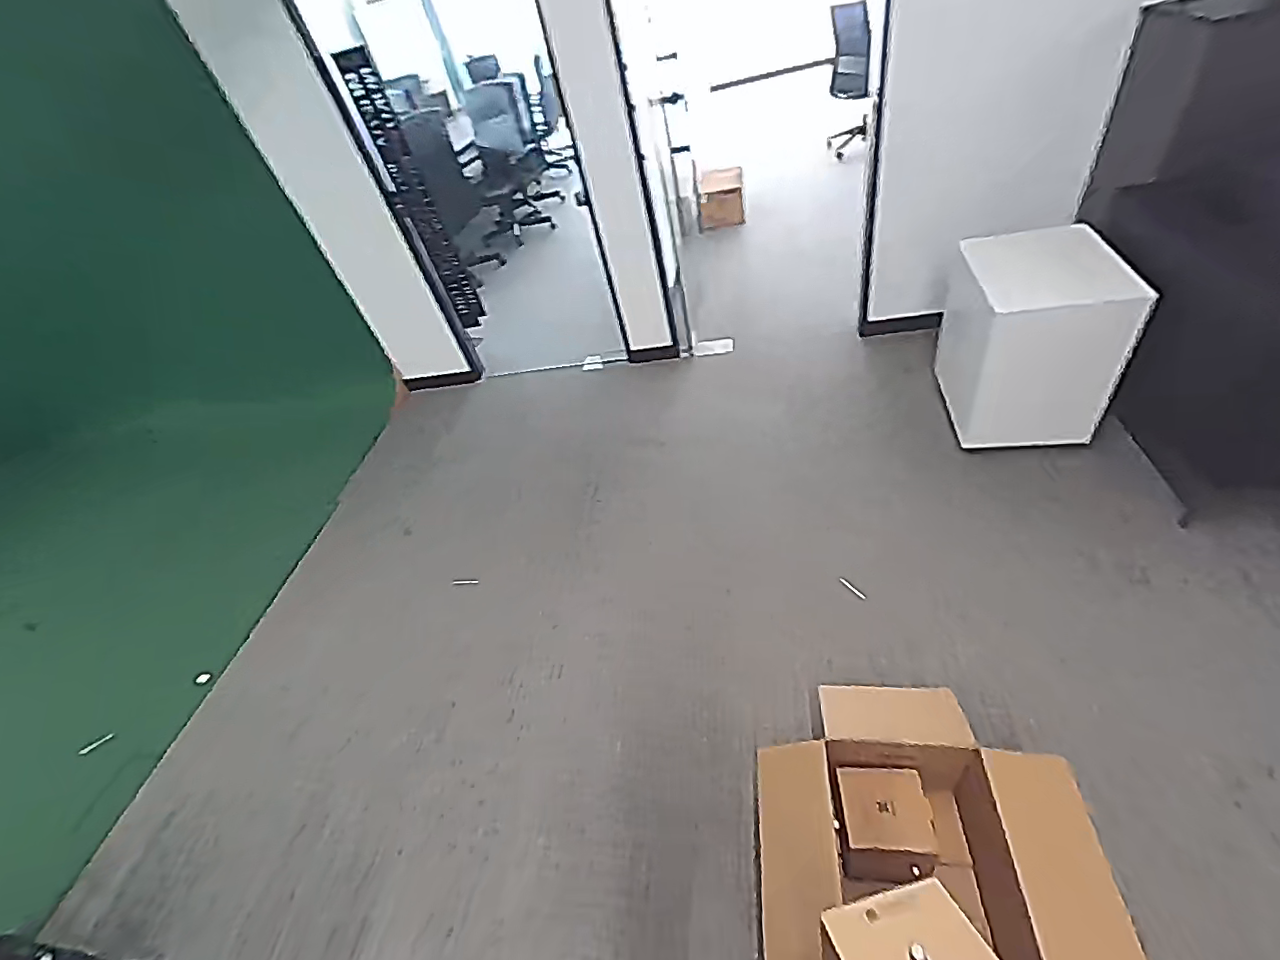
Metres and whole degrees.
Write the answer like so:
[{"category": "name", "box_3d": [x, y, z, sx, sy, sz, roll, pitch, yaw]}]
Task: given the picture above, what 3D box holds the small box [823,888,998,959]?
[{"category": "small box", "box_3d": [0.331, 0.623, 0.627, 0.168, 0.179, 0.176, -15, 14, -9]}]
